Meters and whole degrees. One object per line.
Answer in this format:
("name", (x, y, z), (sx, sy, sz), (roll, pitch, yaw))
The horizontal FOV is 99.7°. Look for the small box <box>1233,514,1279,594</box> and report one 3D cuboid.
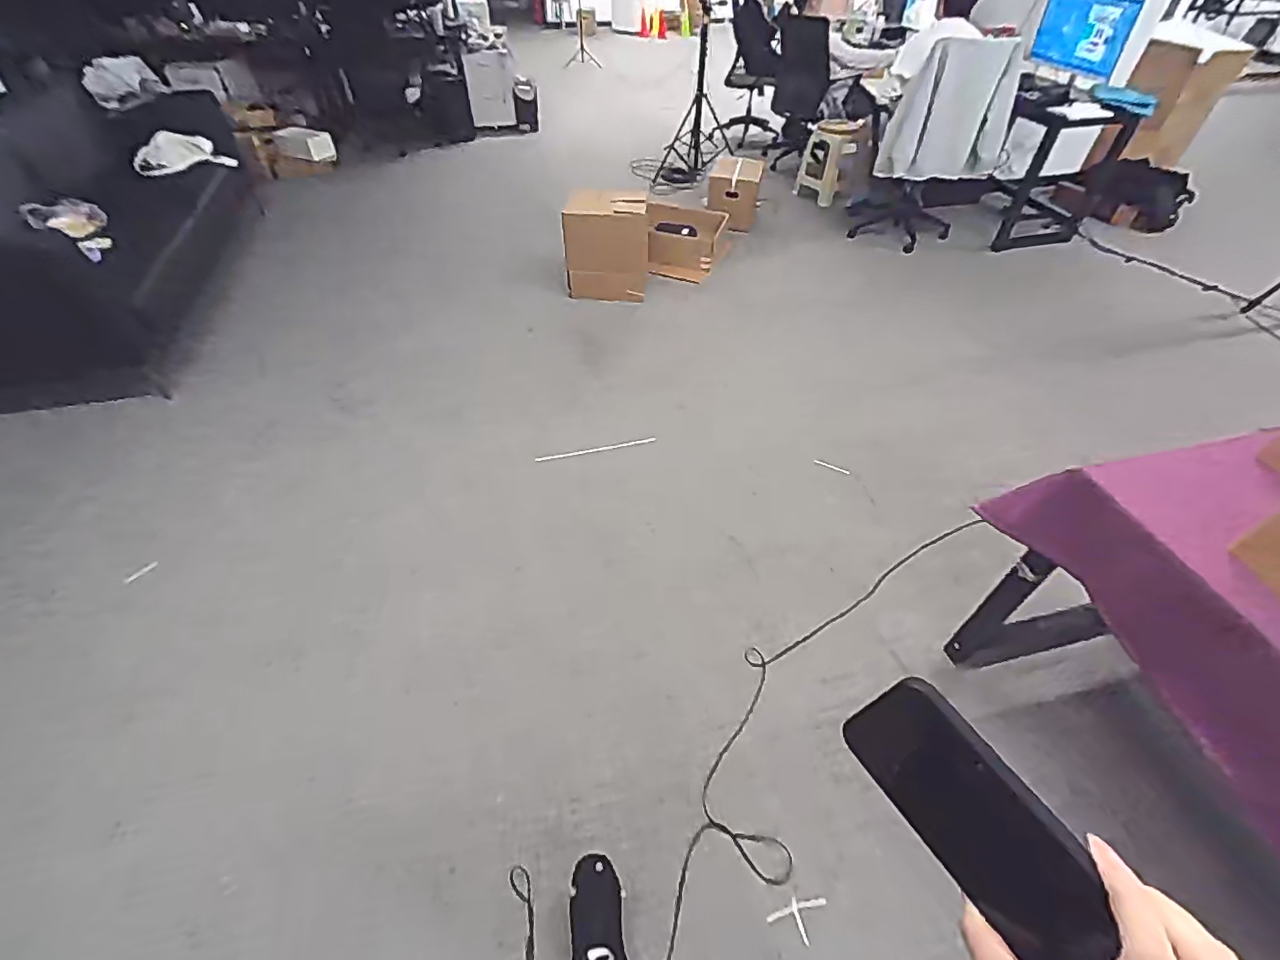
("small box", (1.107, 0.115, 0.830), (0.168, 0.176, 0.179), (-8, 48, -8))
